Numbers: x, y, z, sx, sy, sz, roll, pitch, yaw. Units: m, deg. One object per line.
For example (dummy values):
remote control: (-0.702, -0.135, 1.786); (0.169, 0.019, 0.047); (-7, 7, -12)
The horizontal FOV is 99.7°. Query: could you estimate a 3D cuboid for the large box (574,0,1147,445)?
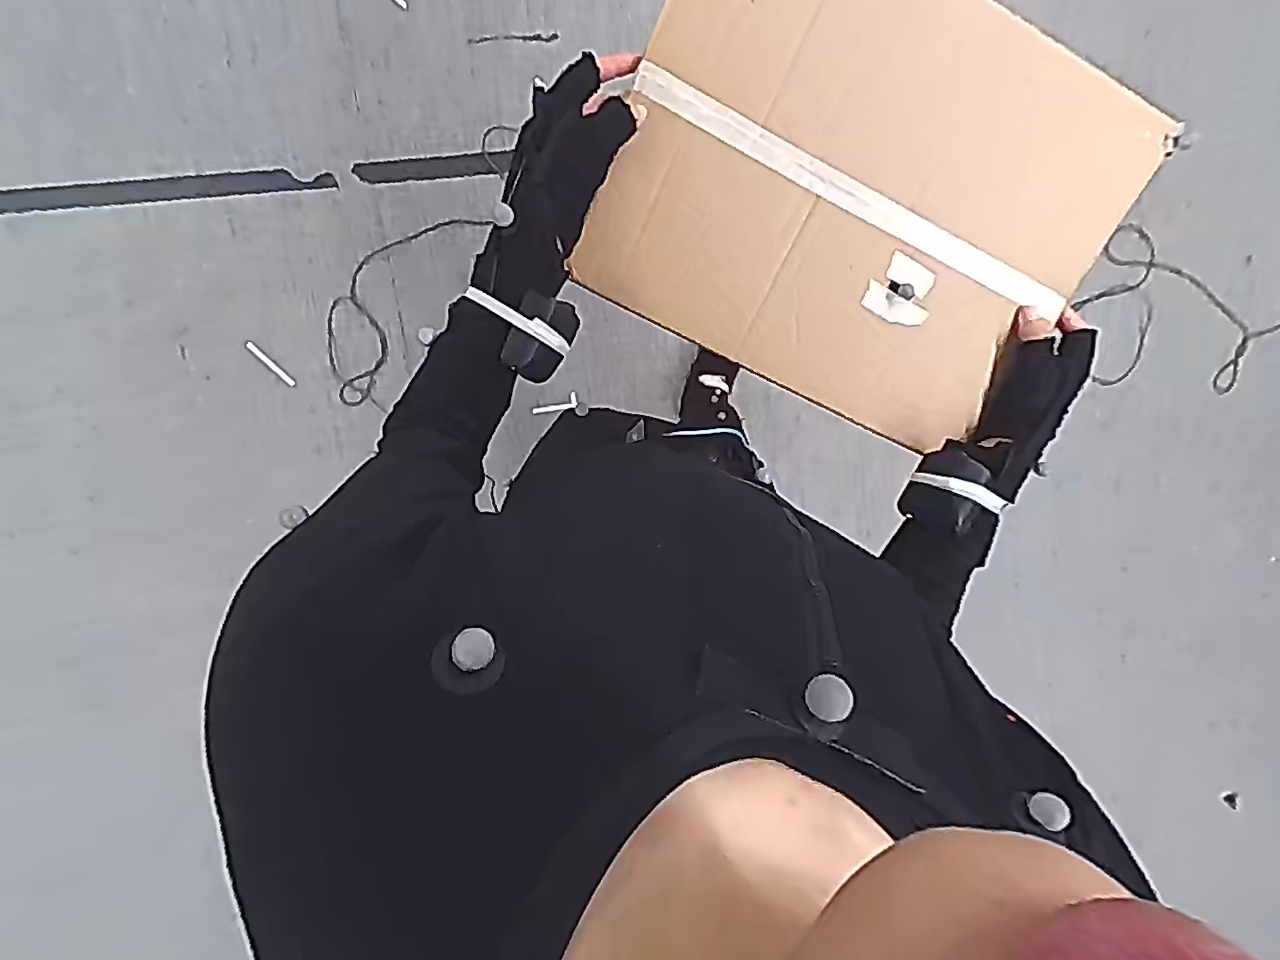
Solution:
large box: (0.176, -0.287, 0.600); (0.408, 0.320, 0.320); (24, 107, -10)
